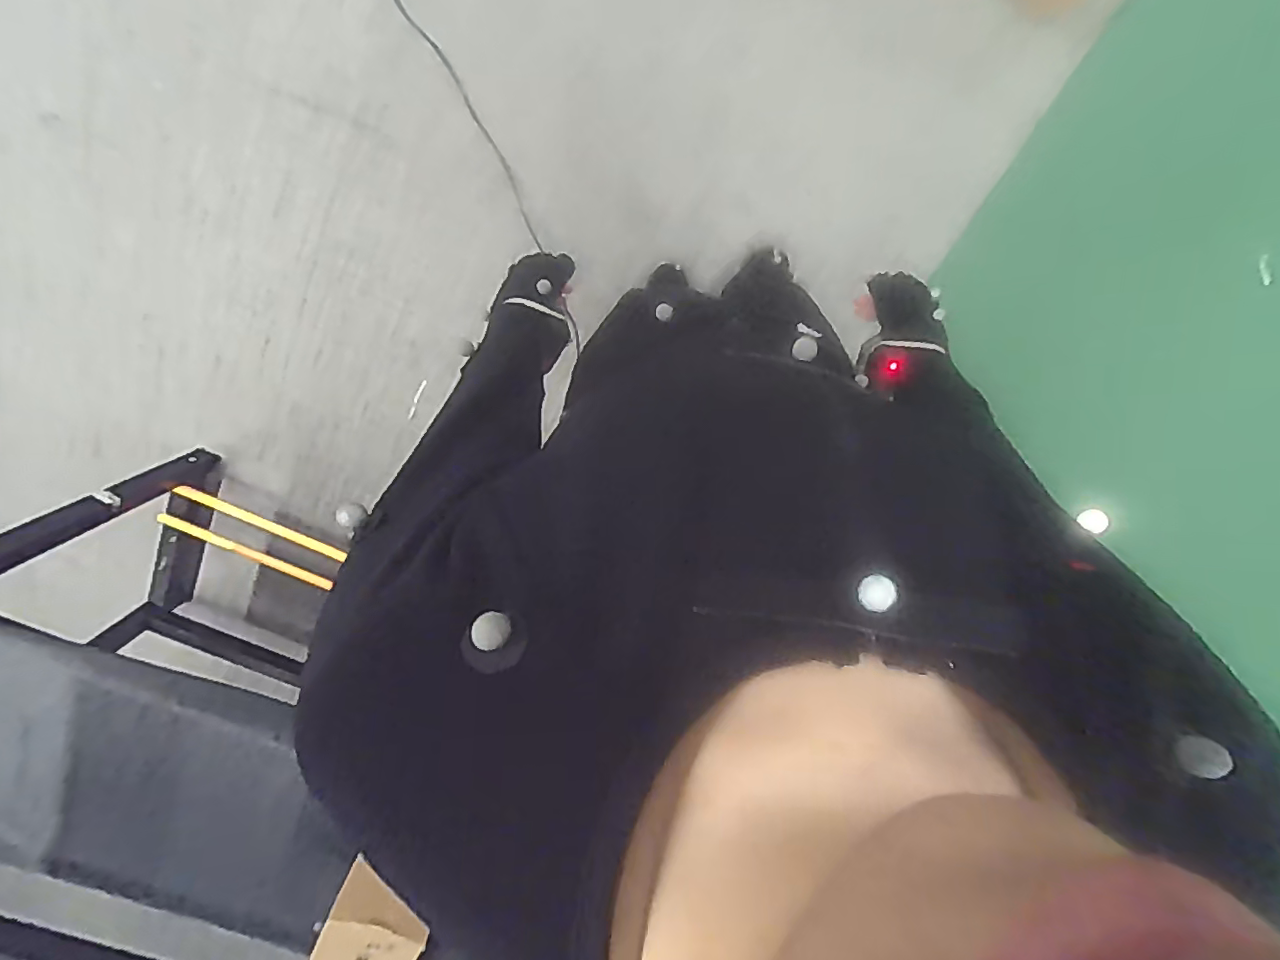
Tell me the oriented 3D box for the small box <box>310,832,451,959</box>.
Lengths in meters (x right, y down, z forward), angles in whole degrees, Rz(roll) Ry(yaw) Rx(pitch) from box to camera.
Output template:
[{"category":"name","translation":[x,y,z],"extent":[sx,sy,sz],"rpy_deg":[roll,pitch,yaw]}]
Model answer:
[{"category":"small box","translation":[-0.465,0.788,0.977],"extent":[0.168,0.176,0.179],"rpy_deg":[25,111,-9]}]
